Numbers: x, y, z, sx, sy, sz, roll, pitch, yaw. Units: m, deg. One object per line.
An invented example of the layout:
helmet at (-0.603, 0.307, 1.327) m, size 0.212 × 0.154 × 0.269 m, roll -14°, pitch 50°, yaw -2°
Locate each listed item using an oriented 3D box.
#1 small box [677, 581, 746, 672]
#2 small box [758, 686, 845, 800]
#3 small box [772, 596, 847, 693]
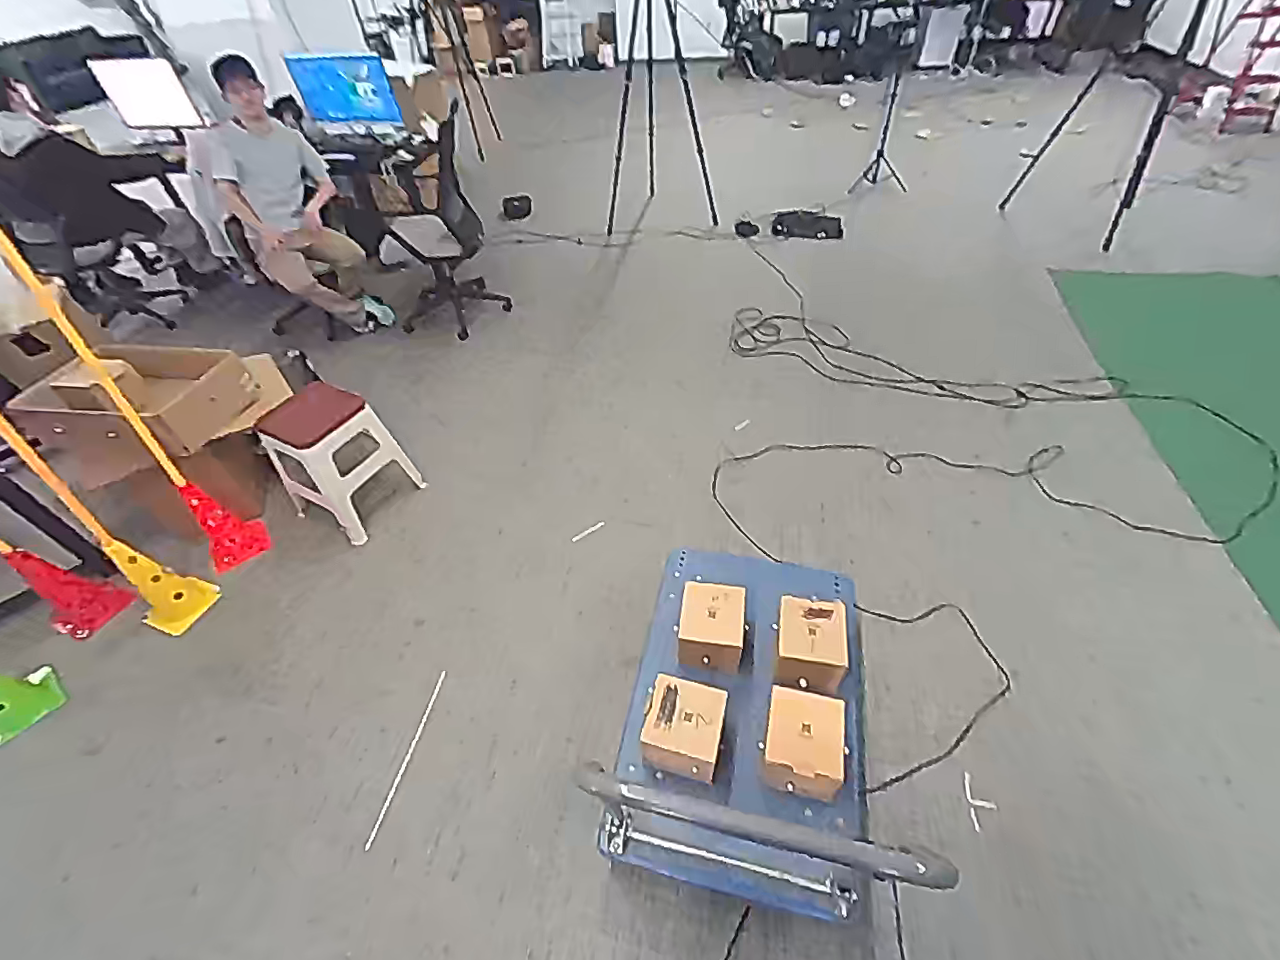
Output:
small box at (0.196, 0.404, 1.480) m, size 0.168 × 0.176 × 0.179 m, roll 6°, pitch 48°, yaw 9°
small box at (0.376, 0.619, 1.269) m, size 0.168 × 0.176 × 0.179 m, roll 10°, pitch 49°, yaw 13°
small box at (0.445, 0.437, 1.432) m, size 0.168 × 0.176 × 0.179 m, roll 7°, pitch 49°, yaw 11°
